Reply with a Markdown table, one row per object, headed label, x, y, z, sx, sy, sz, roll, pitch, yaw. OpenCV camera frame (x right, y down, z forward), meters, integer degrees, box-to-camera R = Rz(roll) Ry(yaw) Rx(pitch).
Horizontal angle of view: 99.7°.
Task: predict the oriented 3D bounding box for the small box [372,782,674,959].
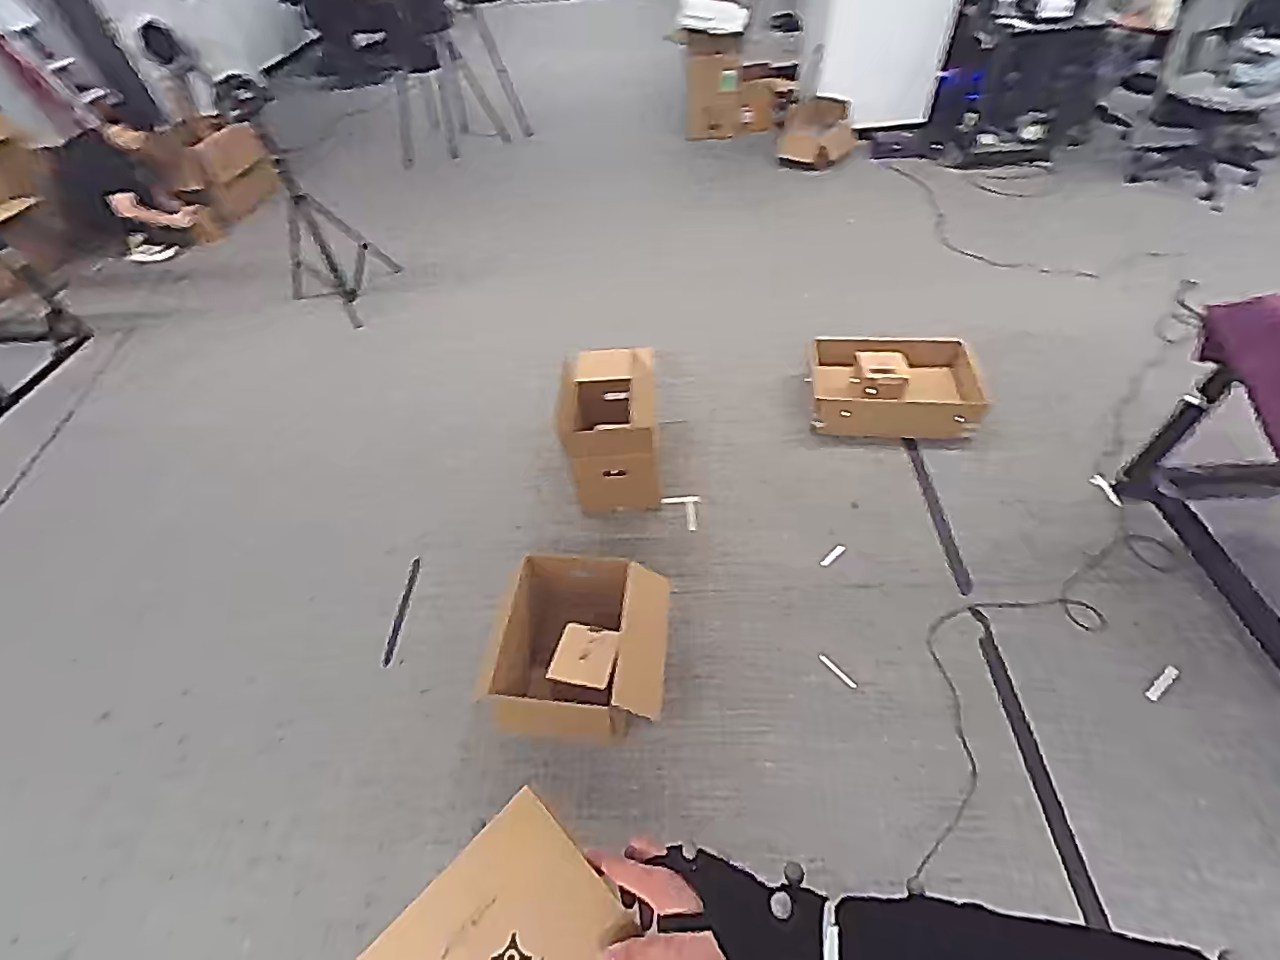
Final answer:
| label | x | y | z | sx | sy | sz | roll | pitch | yaw |
| --- | --- | --- | --- | --- | --- | --- | --- | --- | --- |
| small box | -0.096 | 0.401 | 0.485 | 0.168 | 0.176 | 0.179 | -38 | 72 | -25 |
